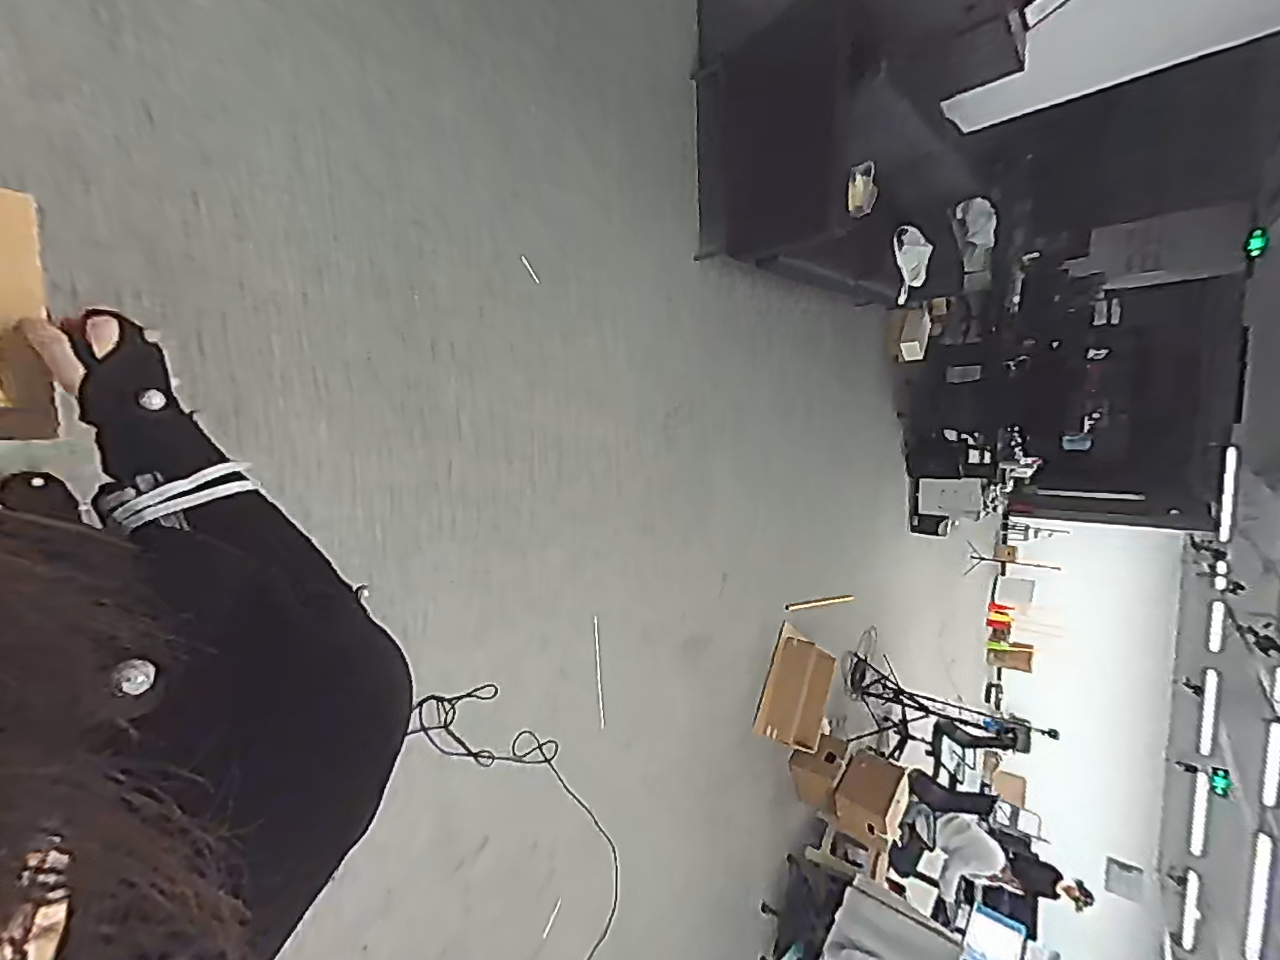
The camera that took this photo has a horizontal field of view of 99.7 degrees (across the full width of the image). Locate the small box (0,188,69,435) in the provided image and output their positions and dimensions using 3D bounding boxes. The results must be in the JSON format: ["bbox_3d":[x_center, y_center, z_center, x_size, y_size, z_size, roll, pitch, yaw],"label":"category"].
[{"bbox_3d":[-0.585,-0.131,0.433,0.168,0.176,0.179,-5,88,-46],"label":"small box"}]
